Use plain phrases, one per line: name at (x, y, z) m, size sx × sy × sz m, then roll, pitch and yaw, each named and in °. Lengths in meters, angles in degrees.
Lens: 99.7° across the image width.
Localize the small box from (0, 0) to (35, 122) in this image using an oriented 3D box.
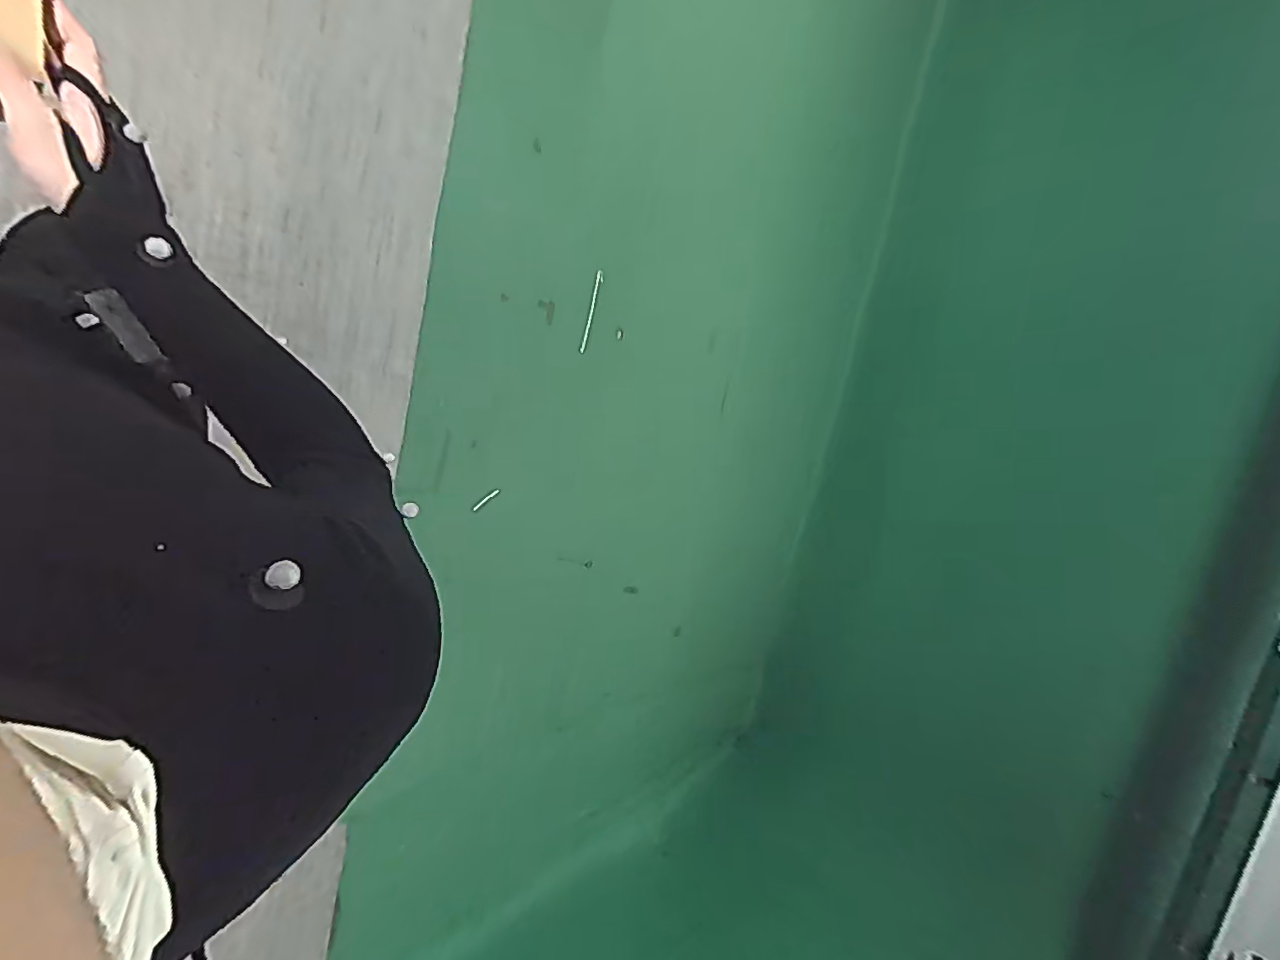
small box at (-0.521, -0.376, 0.351) m, size 0.168 × 0.176 × 0.179 m, roll -1°, pitch 103°, yaw -48°
